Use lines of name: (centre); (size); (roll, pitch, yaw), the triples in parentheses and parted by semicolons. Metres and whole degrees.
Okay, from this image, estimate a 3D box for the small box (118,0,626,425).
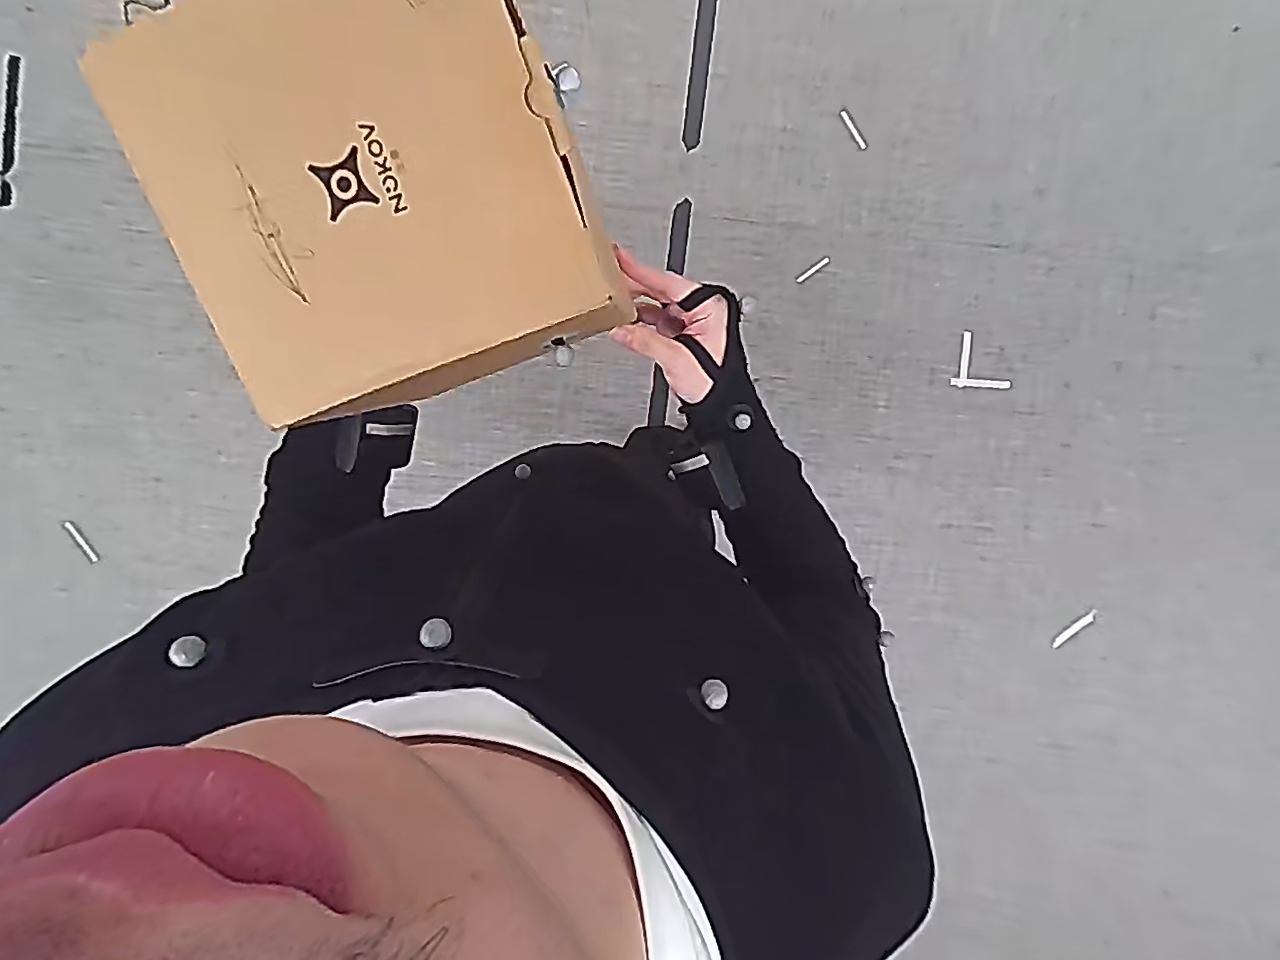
small box: (-0.114, -0.146, 0.315); (0.179, 0.176, 0.168); (-19, 101, 8)
